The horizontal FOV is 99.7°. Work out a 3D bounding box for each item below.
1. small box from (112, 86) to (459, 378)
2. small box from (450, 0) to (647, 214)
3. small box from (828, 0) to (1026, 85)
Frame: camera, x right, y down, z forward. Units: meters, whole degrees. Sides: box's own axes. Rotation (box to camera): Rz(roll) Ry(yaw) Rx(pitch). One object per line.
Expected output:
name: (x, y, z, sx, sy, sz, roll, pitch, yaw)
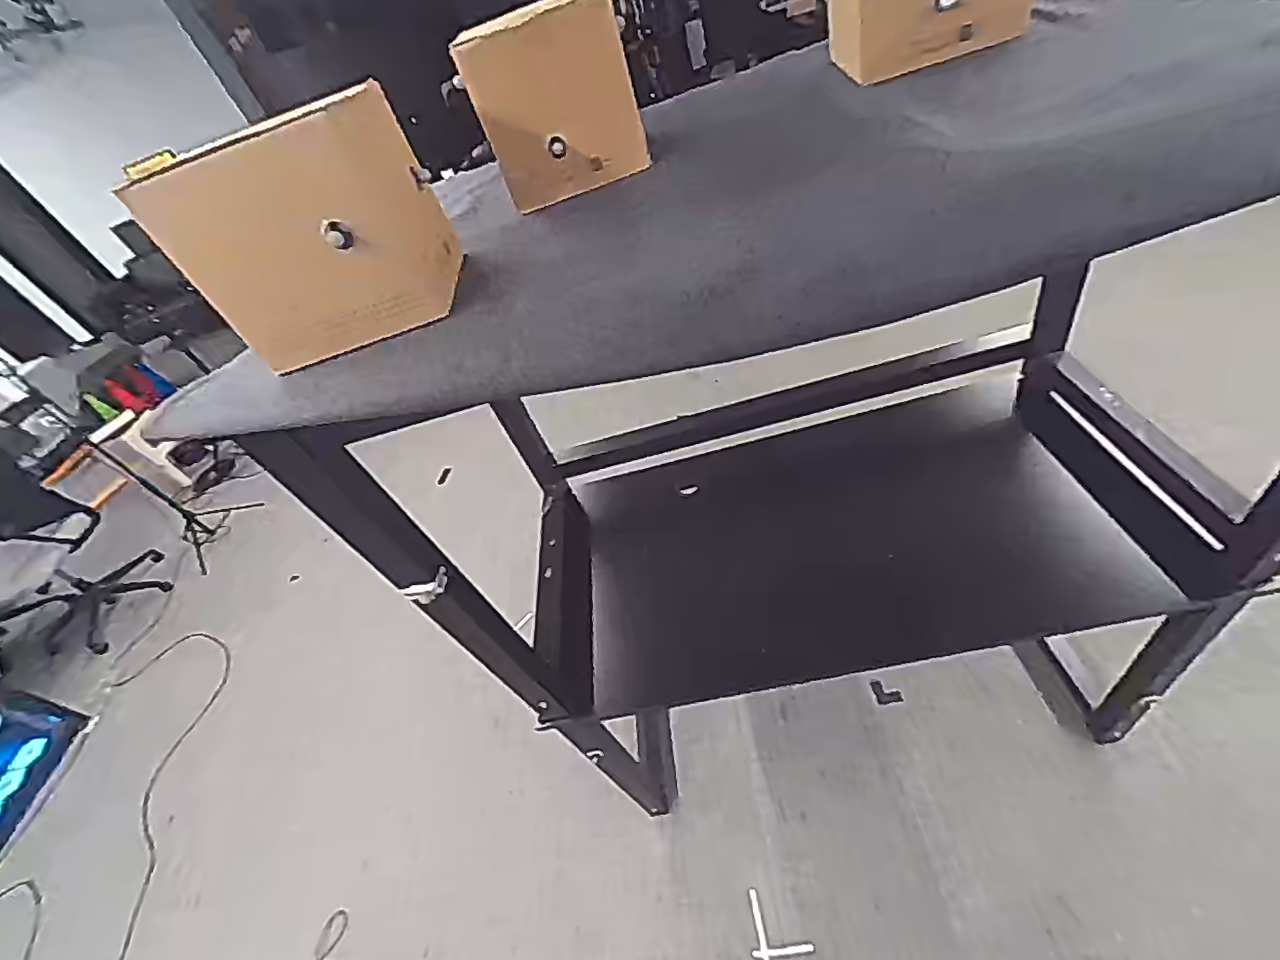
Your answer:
small box: (-0.286, -0.221, 0.491, 0.179, 0.176, 0.168, -17, 42, 4)
small box: (-0.101, -0.442, 0.638, 0.168, 0.176, 0.179, -19, 44, 4)
small box: (0.302, -0.562, 0.587, 0.168, 0.176, 0.179, -10, 45, 13)
